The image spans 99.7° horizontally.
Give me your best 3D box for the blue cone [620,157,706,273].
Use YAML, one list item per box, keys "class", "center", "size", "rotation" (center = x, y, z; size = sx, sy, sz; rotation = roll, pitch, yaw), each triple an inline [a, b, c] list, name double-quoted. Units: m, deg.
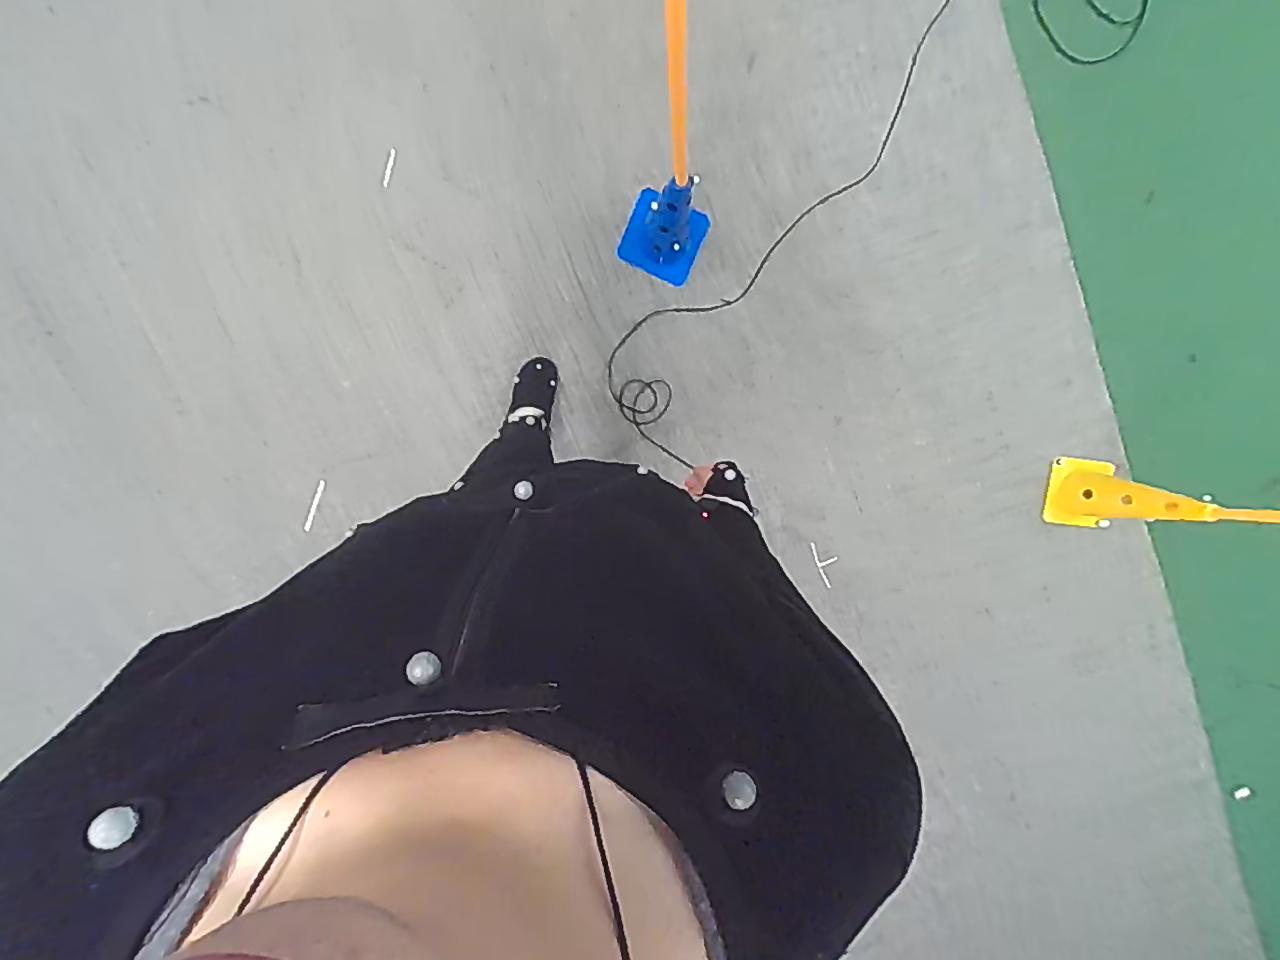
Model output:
- class: "blue cone"
  center: [0.068, -0.628, 1.243]
  size: [0.193, 0.380, 0.192]
  rotation: [22, 95, -6]
